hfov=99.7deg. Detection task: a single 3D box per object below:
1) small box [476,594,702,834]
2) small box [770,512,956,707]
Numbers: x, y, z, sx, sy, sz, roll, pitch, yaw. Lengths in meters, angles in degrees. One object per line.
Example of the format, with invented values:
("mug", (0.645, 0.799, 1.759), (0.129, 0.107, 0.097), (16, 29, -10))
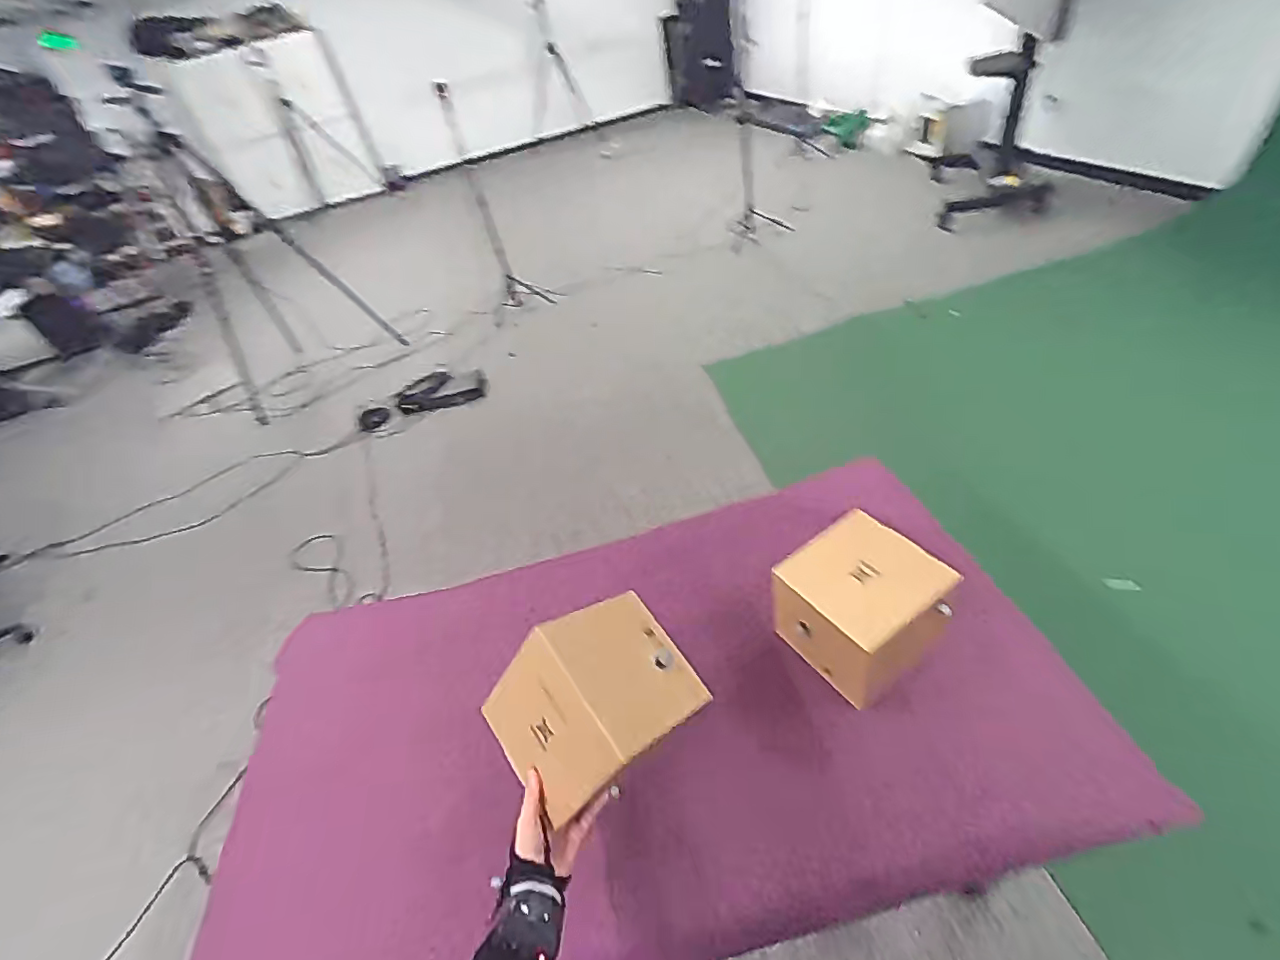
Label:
("small box", (-0.059, 0.264, 0.640), (0.176, 0.179, 0.168), (-9, 52, -50))
("small box", (0.310, 0.185, 0.773), (0.179, 0.176, 0.168), (-30, 43, -18))
